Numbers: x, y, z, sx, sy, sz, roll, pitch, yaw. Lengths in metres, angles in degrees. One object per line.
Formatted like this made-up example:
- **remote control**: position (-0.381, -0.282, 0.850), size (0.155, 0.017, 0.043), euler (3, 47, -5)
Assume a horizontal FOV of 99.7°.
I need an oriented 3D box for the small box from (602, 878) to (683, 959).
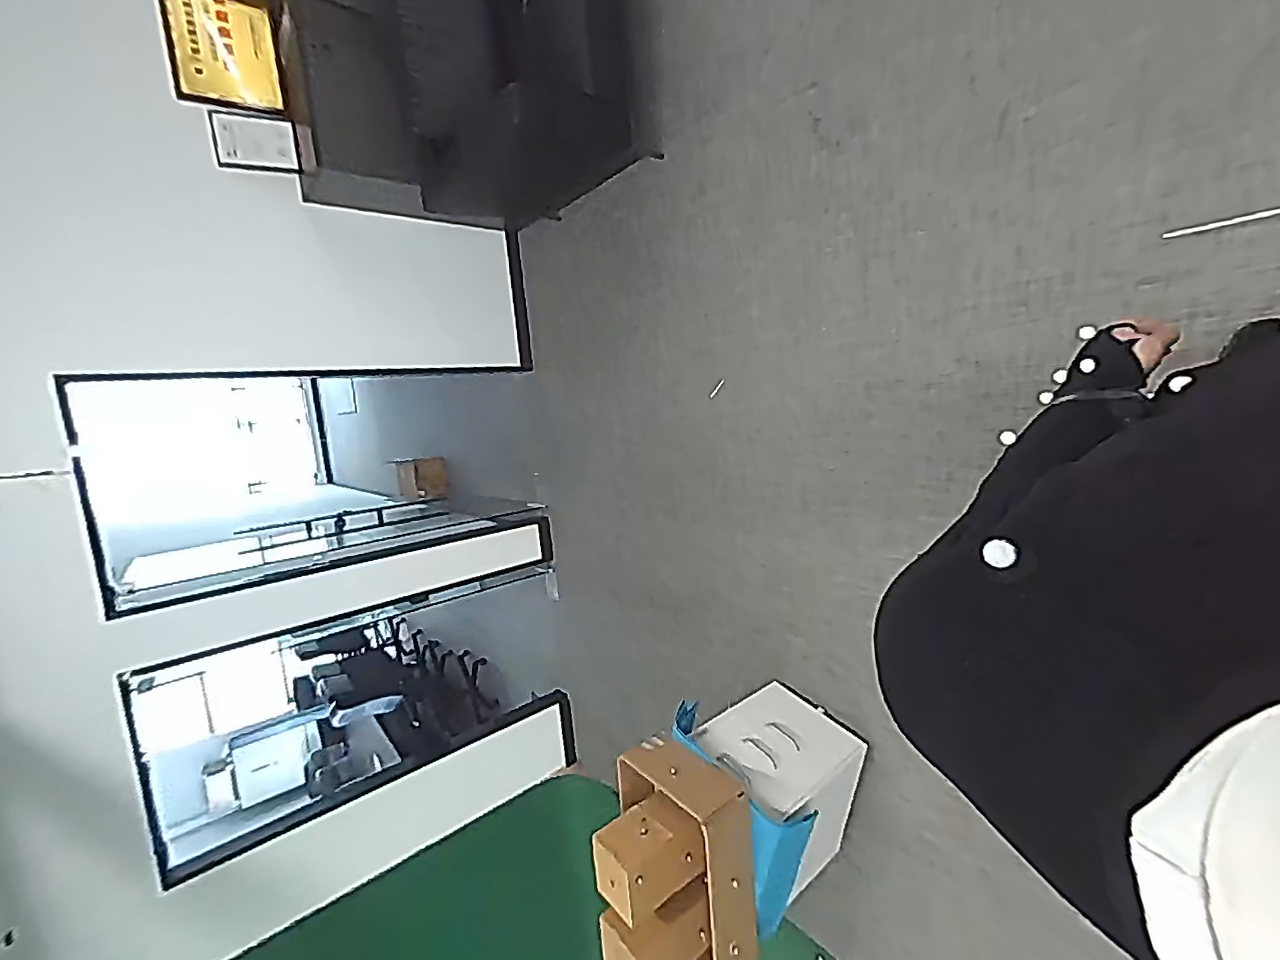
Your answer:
- **small box**: position (0.011, 1.304, 1.543), size (0.168, 0.176, 0.179), euler (6, 102, 51)
